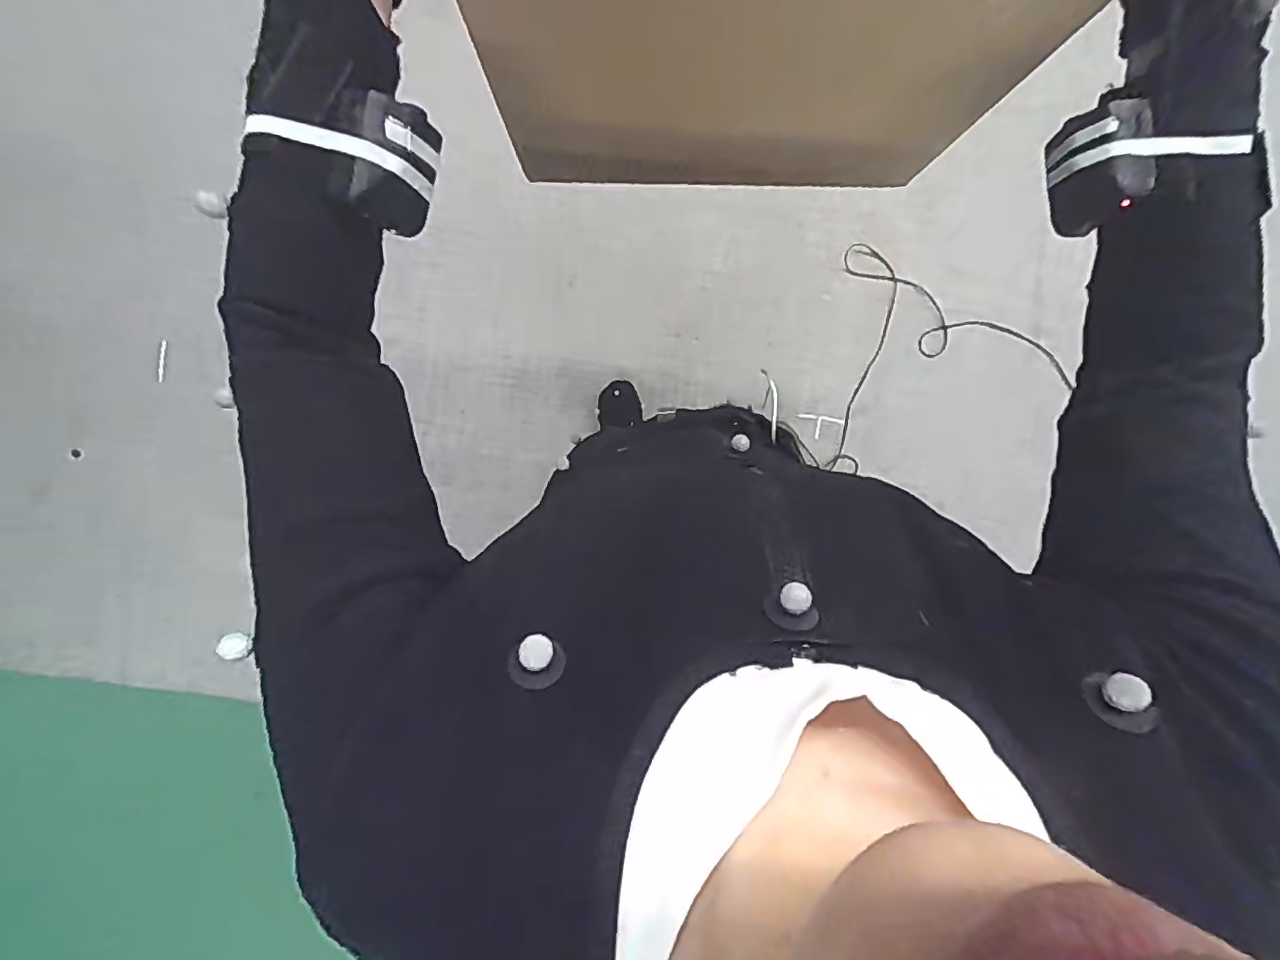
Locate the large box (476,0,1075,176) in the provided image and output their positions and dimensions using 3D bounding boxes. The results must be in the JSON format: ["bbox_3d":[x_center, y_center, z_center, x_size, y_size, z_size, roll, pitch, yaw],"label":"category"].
[{"bbox_3d":[0.084,-0.462,0.412,0.408,0.320,0.320,-1,95,-3],"label":"large box"}]
